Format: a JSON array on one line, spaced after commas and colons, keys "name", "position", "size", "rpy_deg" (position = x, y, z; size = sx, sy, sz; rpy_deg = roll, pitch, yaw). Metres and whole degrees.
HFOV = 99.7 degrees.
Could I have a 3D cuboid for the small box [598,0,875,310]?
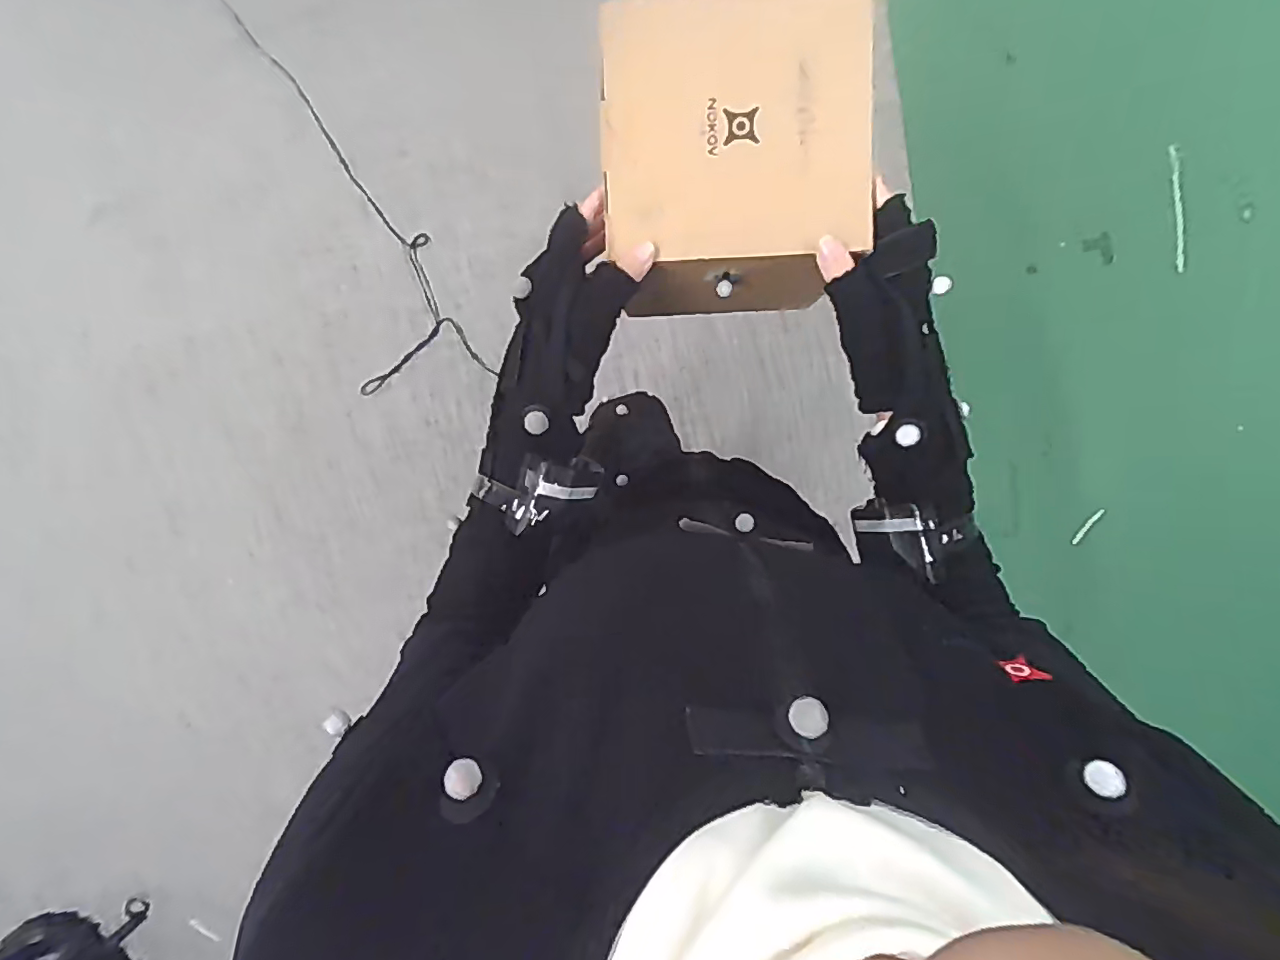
[{"name": "small box", "position": [0.068, -0.239, 0.431], "size": [0.179, 0.176, 0.168], "rpy_deg": [-3, 96, 4]}]
